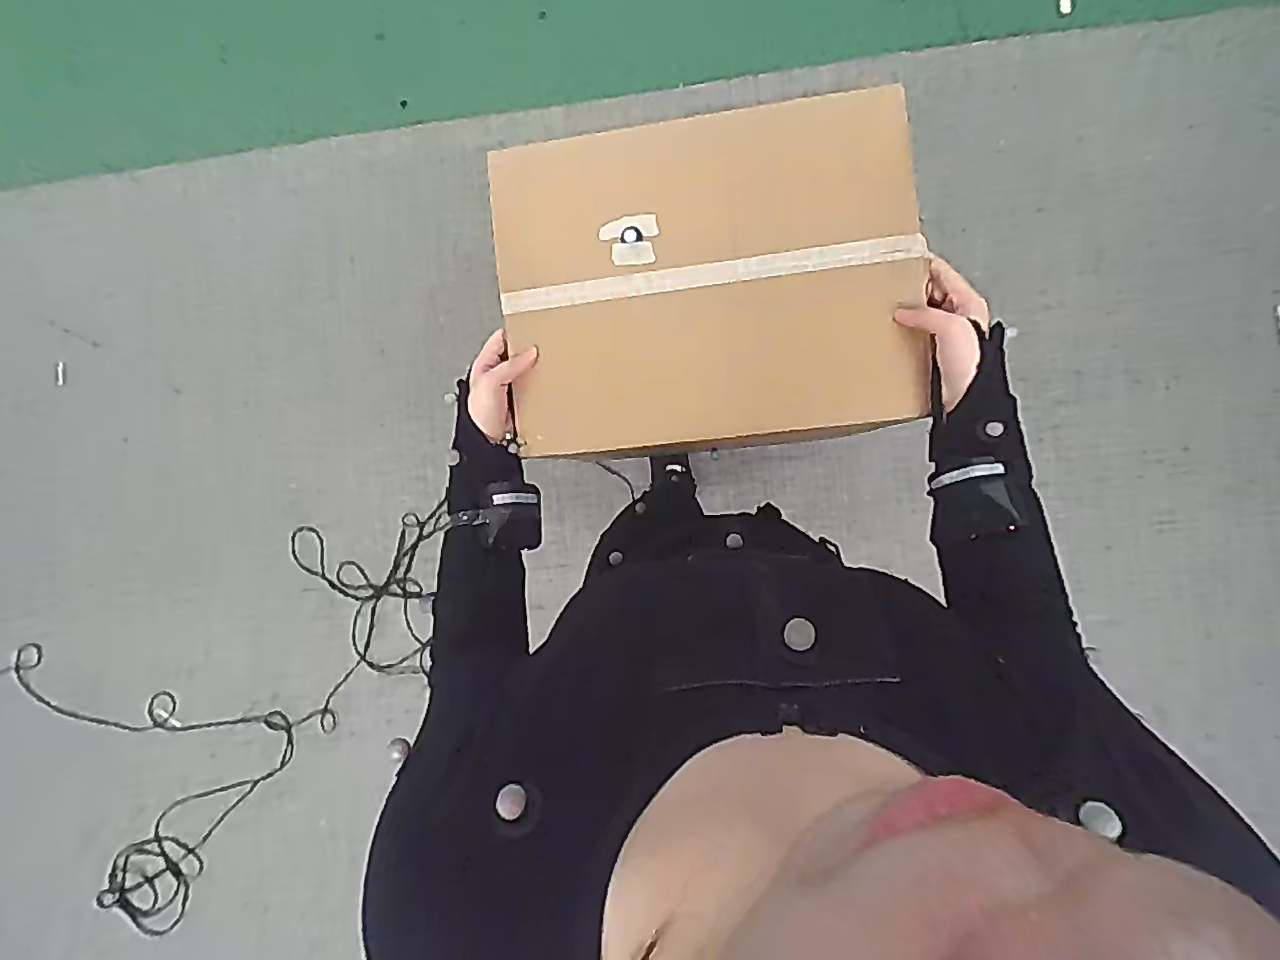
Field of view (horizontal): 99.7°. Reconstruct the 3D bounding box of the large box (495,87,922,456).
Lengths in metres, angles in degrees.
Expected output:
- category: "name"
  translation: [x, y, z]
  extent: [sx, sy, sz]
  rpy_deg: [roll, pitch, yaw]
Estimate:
- category: "large box"
  translation: [0.080, -0.205, 0.688]
  extent: [0.408, 0.320, 0.320]
  rpy_deg: [-6, 90, 8]
